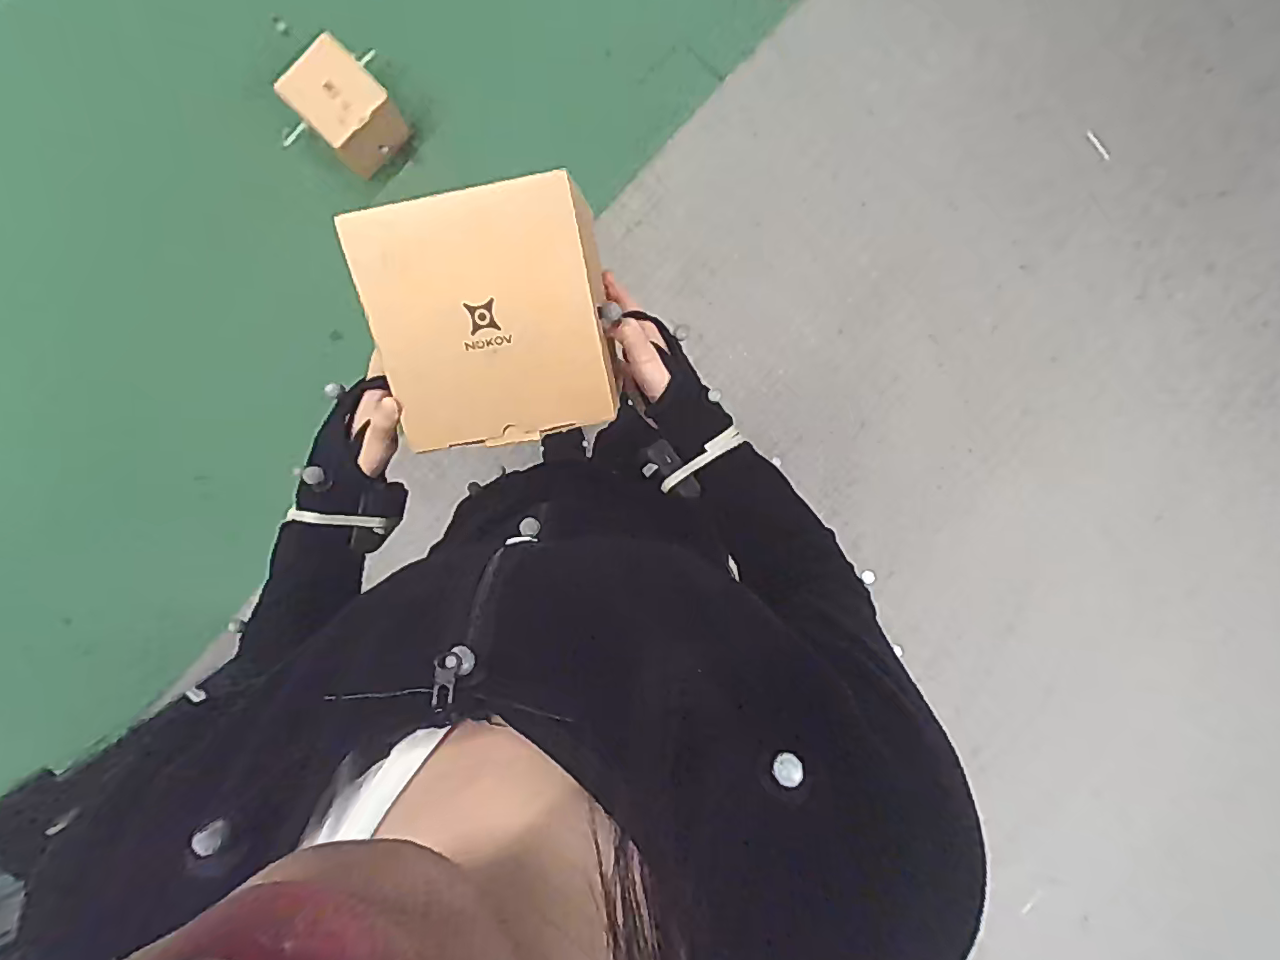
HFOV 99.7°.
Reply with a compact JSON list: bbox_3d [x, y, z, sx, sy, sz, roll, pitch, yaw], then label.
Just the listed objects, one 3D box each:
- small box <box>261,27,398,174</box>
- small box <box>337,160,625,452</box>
[{"bbox_3d":[-0.688,-0.842,1.220,0.179,0.176,0.168,44,89,-10],"label":"small box"},{"bbox_3d":[-0.110,-0.141,0.458,0.168,0.176,0.179,-11,110,2],"label":"small box"}]
